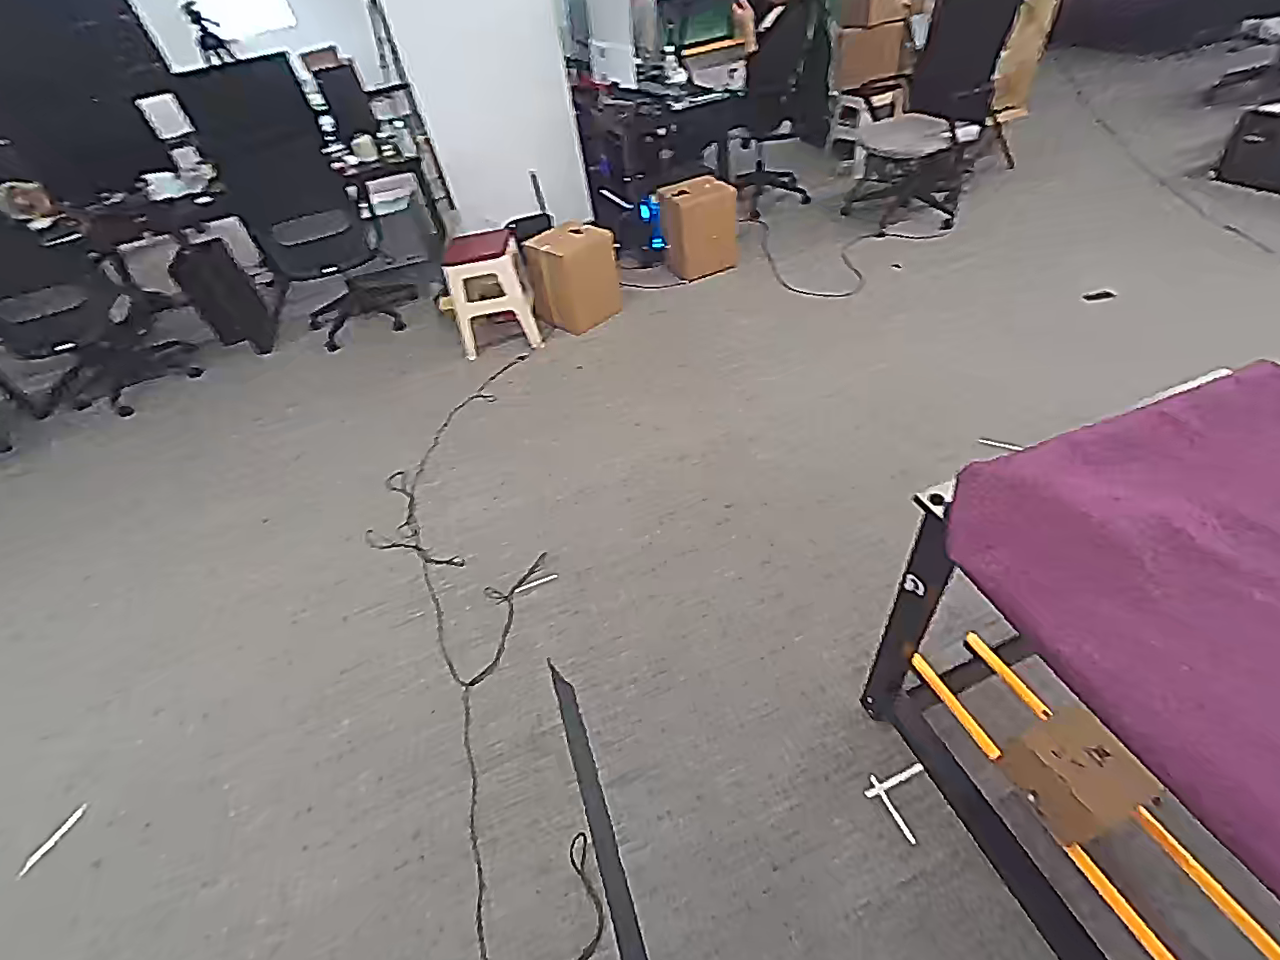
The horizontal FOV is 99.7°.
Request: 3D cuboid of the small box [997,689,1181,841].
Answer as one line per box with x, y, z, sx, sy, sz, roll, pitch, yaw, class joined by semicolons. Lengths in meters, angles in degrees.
0.805;0.523;0.993;0.179;0.176;0.168;-24;46;-10;small box
